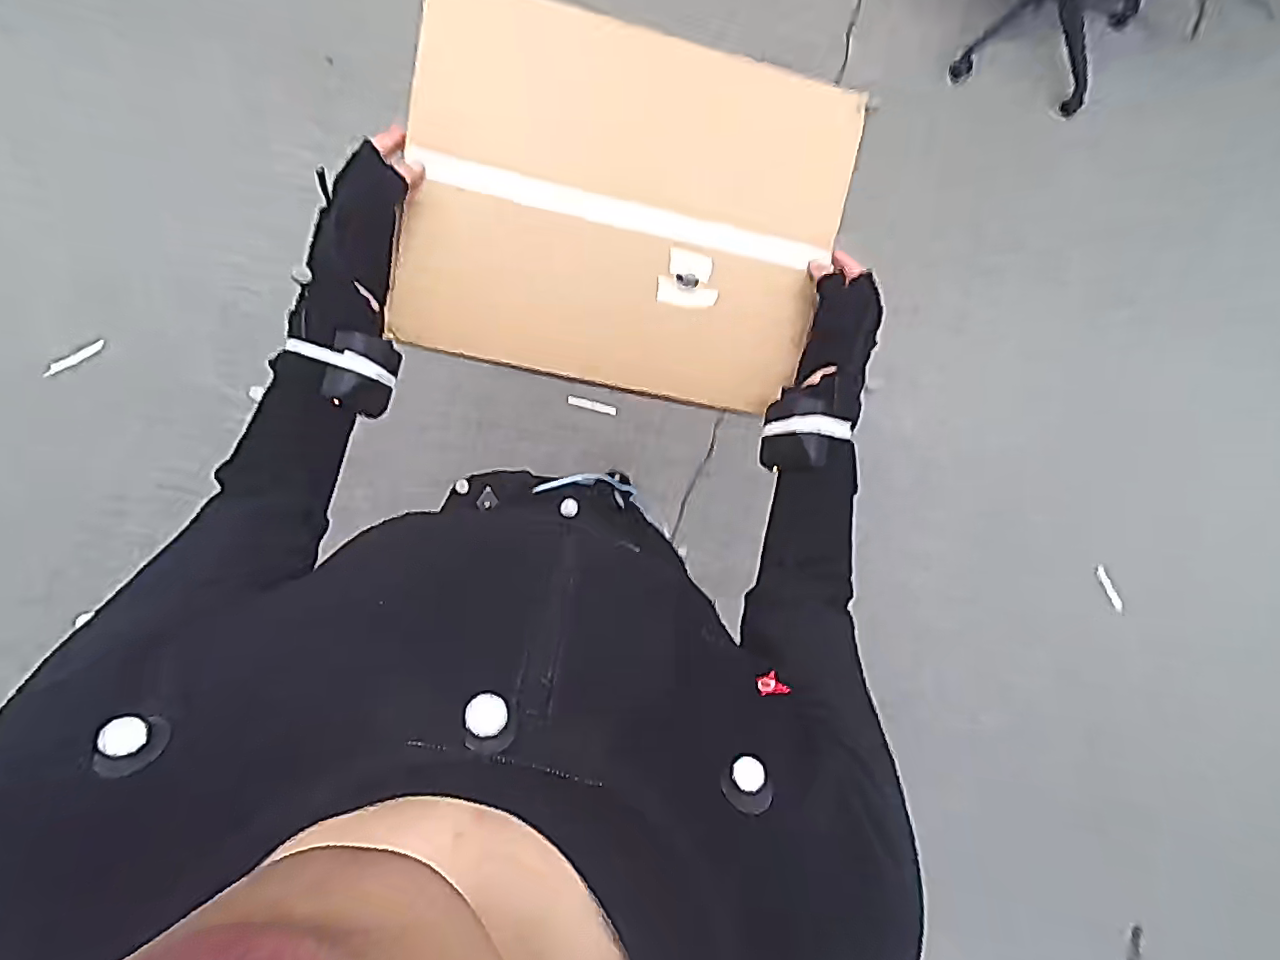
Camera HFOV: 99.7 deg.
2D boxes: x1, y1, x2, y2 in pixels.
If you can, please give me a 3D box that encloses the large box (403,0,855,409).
[{"bbox_3d":[-0.028,-0.279,0.668,0.408,0.320,0.320,10,100,-9],"label":"large box"}]
